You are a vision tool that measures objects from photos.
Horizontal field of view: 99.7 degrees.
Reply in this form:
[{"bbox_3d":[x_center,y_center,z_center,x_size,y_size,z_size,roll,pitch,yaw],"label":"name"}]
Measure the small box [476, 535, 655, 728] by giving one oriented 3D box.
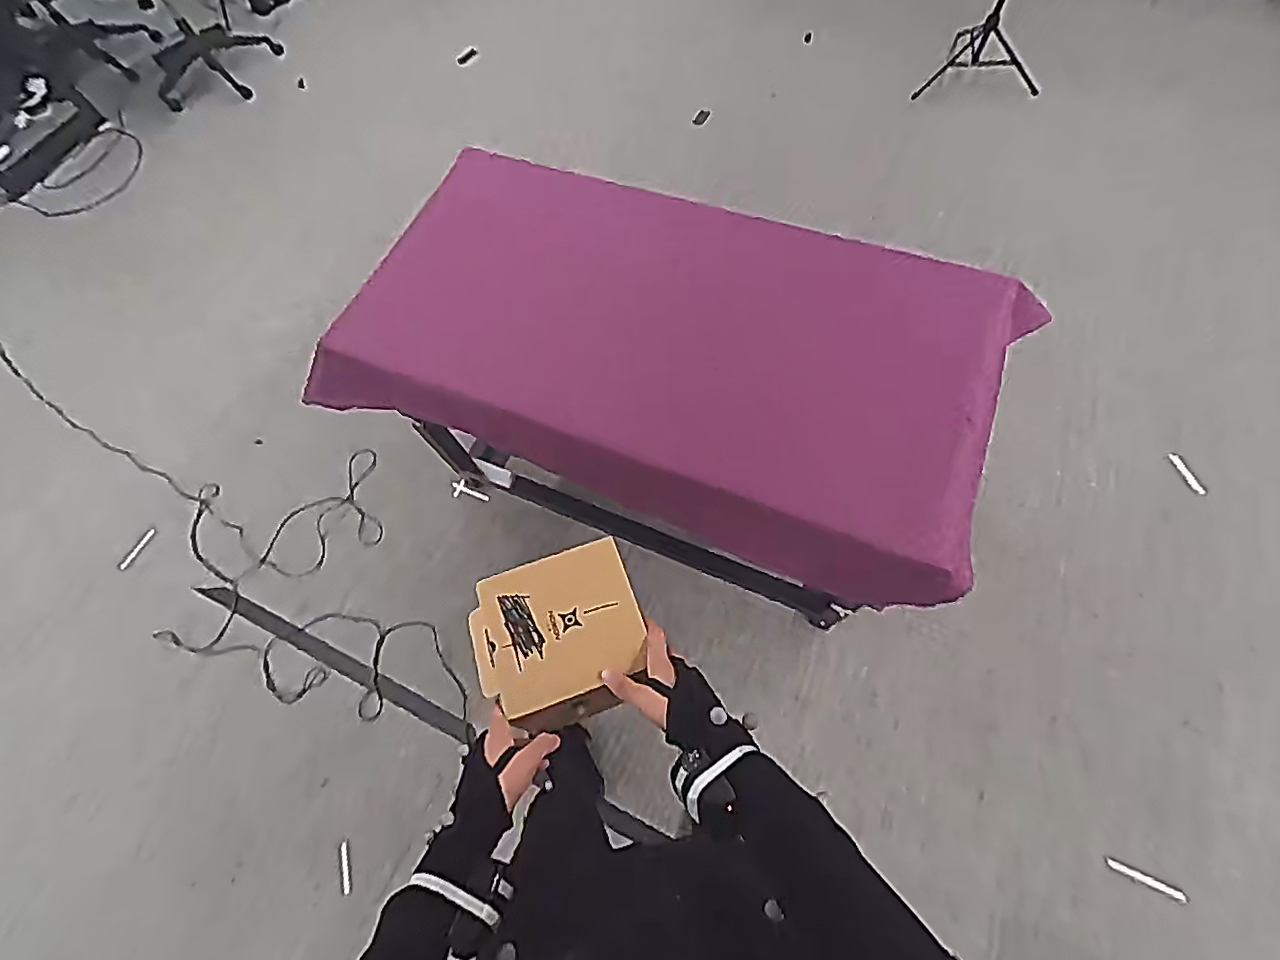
[{"bbox_3d":[-0.086,0.199,0.688,0.179,0.176,0.168,-18,61,-8],"label":"small box"}]
